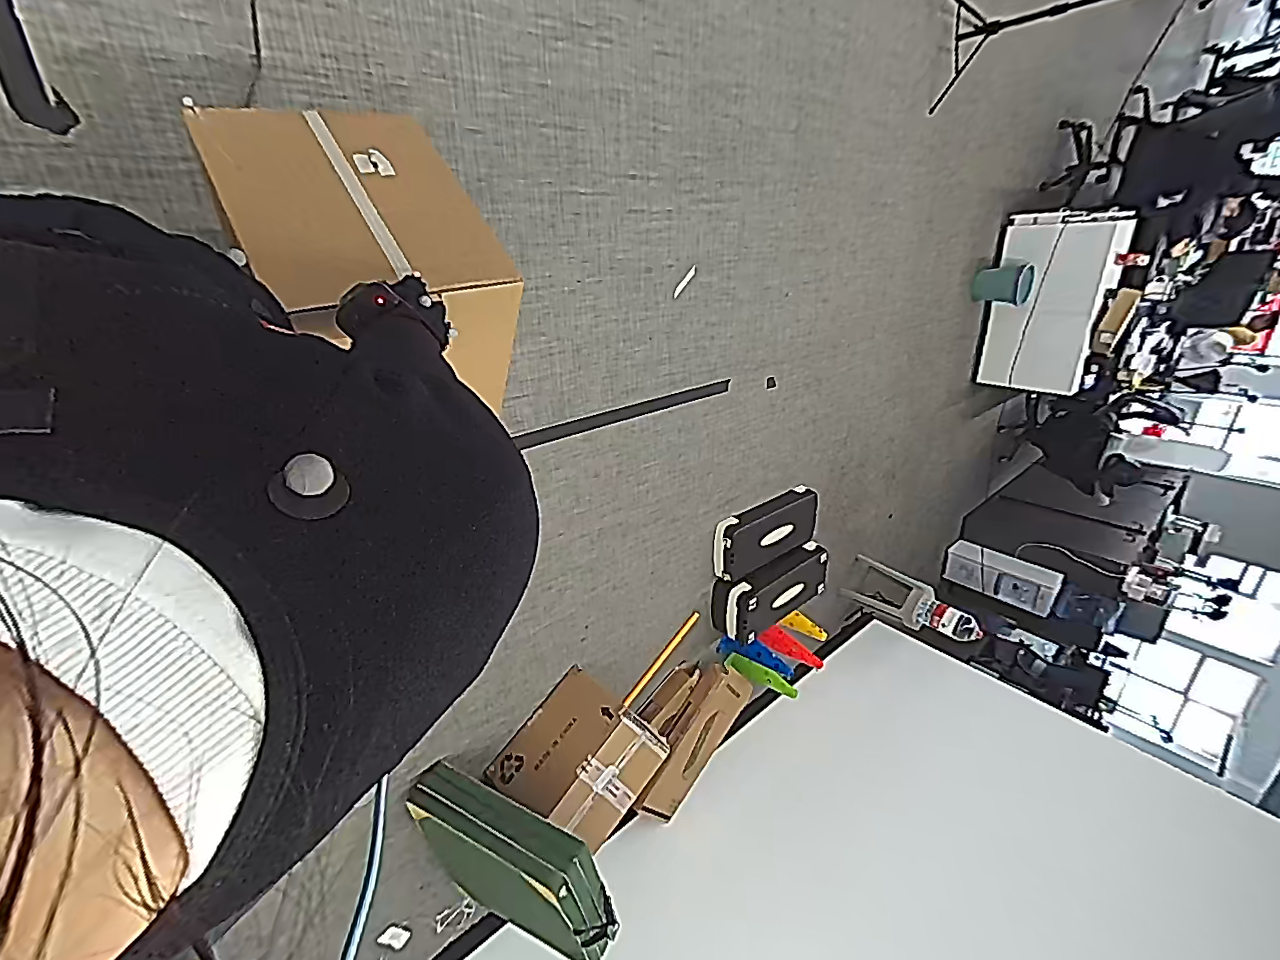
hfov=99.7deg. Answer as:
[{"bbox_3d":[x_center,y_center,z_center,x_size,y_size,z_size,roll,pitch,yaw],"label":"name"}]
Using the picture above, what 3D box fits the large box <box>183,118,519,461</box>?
[{"bbox_3d":[-0.444,-0.306,0.875,0.320,0.408,0.320,-23,158,-33],"label":"large box"}]
